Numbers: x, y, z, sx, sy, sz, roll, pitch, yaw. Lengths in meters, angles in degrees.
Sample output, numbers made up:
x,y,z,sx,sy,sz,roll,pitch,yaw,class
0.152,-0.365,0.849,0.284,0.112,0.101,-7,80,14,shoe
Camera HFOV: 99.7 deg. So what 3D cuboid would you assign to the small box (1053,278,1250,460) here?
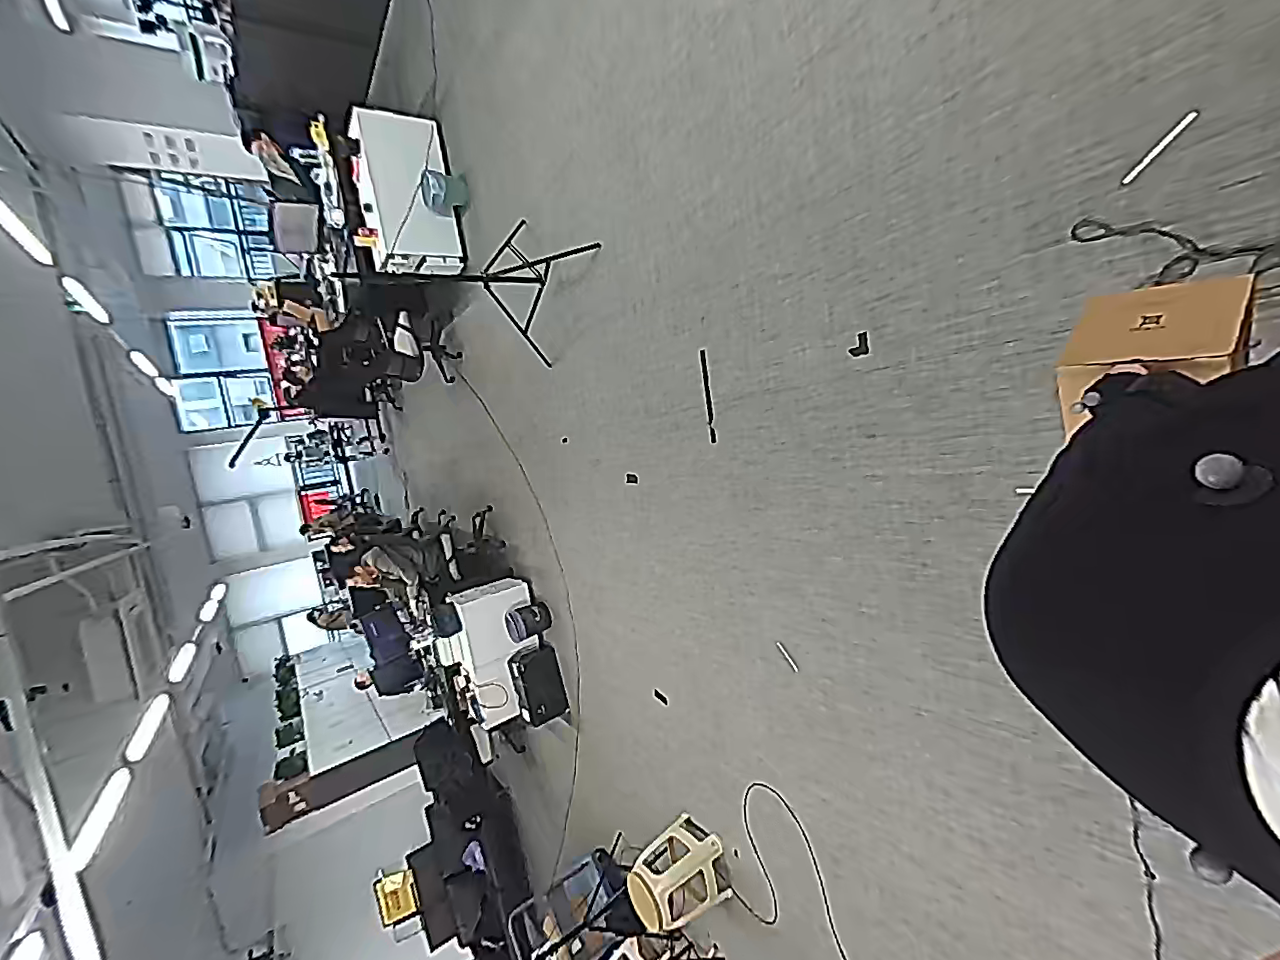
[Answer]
x,y,z,sx,sy,sz,roll,pitch,yaw,class
0.704,-0.145,0.746,0.168,0.179,0.176,10,142,50,small box
